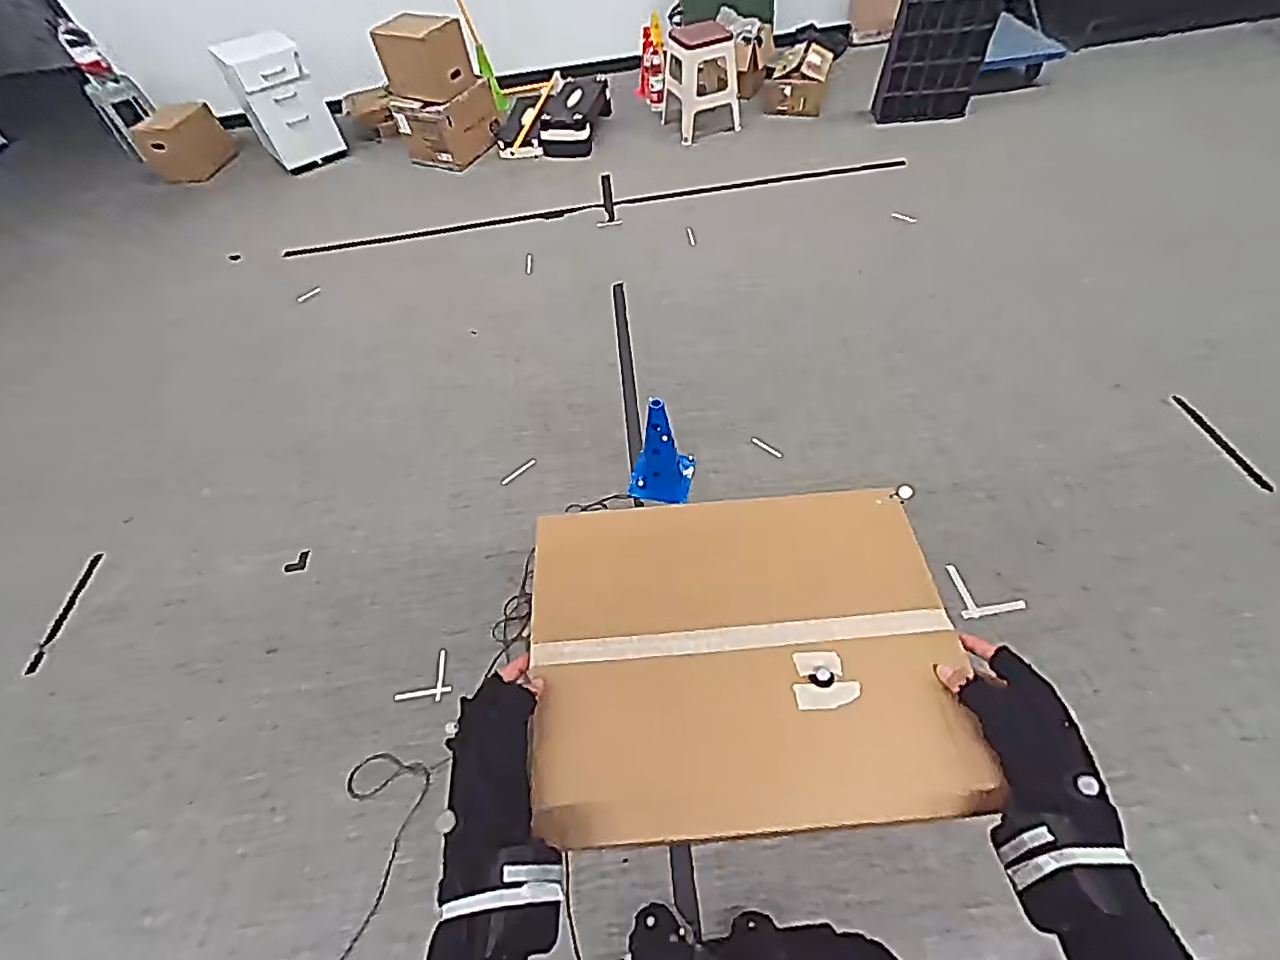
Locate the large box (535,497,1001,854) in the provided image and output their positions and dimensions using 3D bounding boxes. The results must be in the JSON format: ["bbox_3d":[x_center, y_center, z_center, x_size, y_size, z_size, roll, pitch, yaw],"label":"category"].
[{"bbox_3d":[0.102,0.248,0.657,0.408,0.320,0.320,-5,55,0],"label":"large box"}]

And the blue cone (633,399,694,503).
[{"bbox_3d":[0.065,-0.104,1.702,0.193,0.380,0.192,9,55,13],"label":"blue cone"}]
